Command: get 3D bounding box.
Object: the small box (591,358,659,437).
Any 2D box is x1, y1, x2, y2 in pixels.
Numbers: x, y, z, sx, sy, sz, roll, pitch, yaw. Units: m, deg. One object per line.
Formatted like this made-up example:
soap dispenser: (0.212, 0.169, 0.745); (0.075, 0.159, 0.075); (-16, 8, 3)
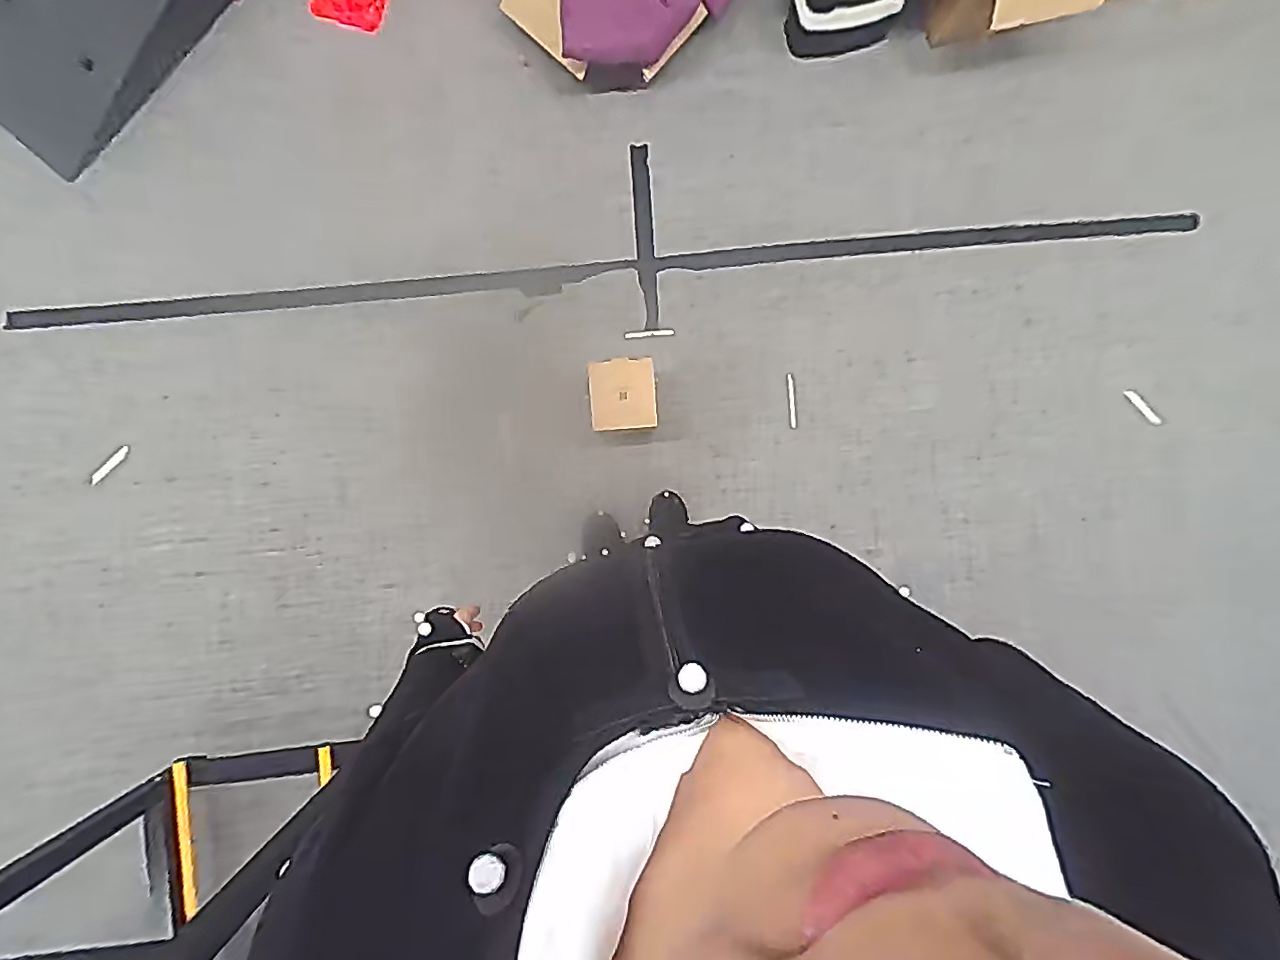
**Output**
small box: (-0.040, -0.213, 1.429); (0.168, 0.176, 0.179); (-5, 91, 0)
